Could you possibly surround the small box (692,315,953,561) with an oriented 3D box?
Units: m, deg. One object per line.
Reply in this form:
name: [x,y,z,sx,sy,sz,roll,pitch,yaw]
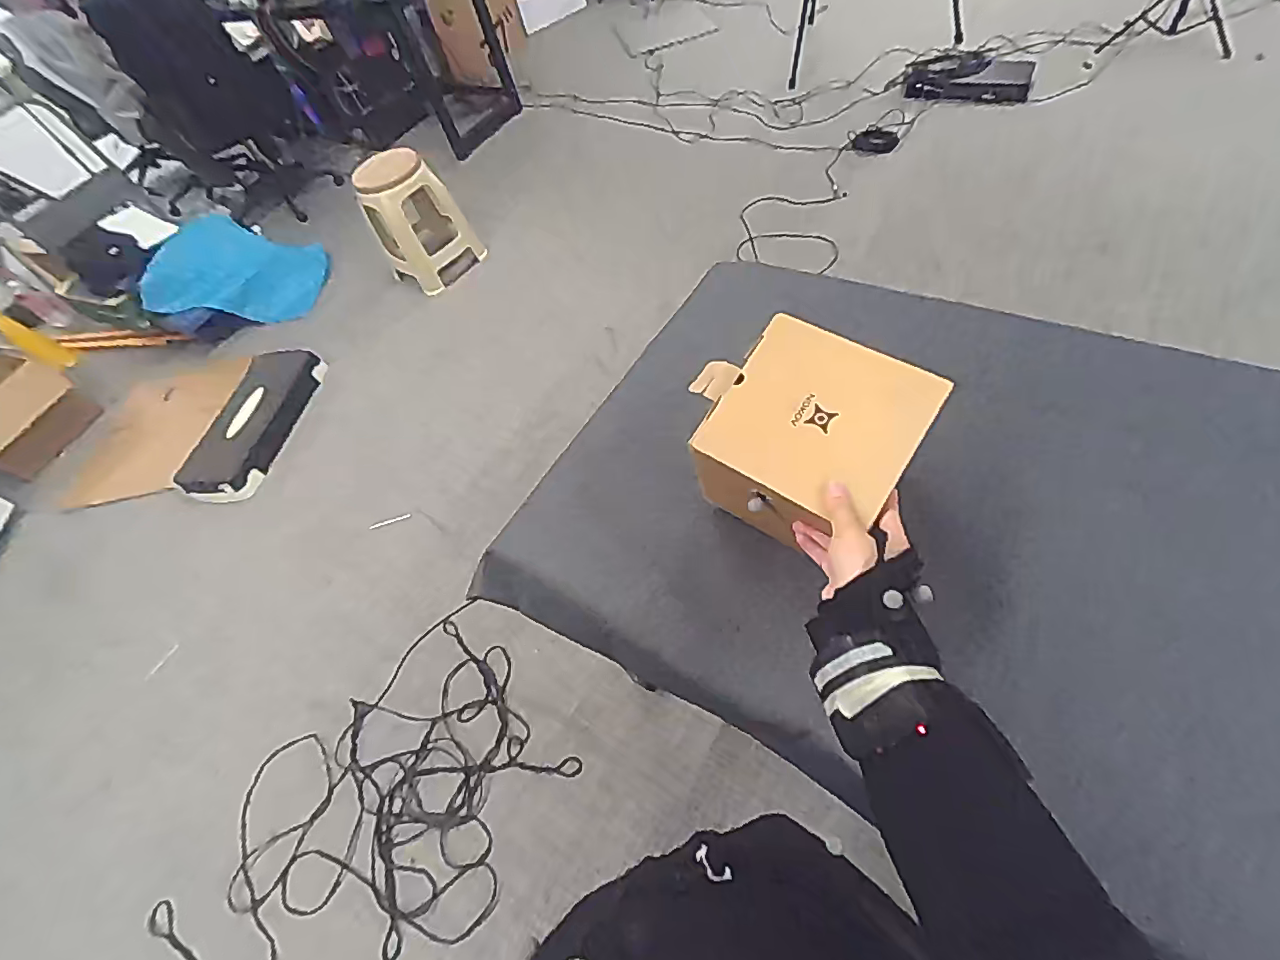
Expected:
small box: [0.178,-0.031,0.564,0.179,0.176,0.168,31,80,20]
